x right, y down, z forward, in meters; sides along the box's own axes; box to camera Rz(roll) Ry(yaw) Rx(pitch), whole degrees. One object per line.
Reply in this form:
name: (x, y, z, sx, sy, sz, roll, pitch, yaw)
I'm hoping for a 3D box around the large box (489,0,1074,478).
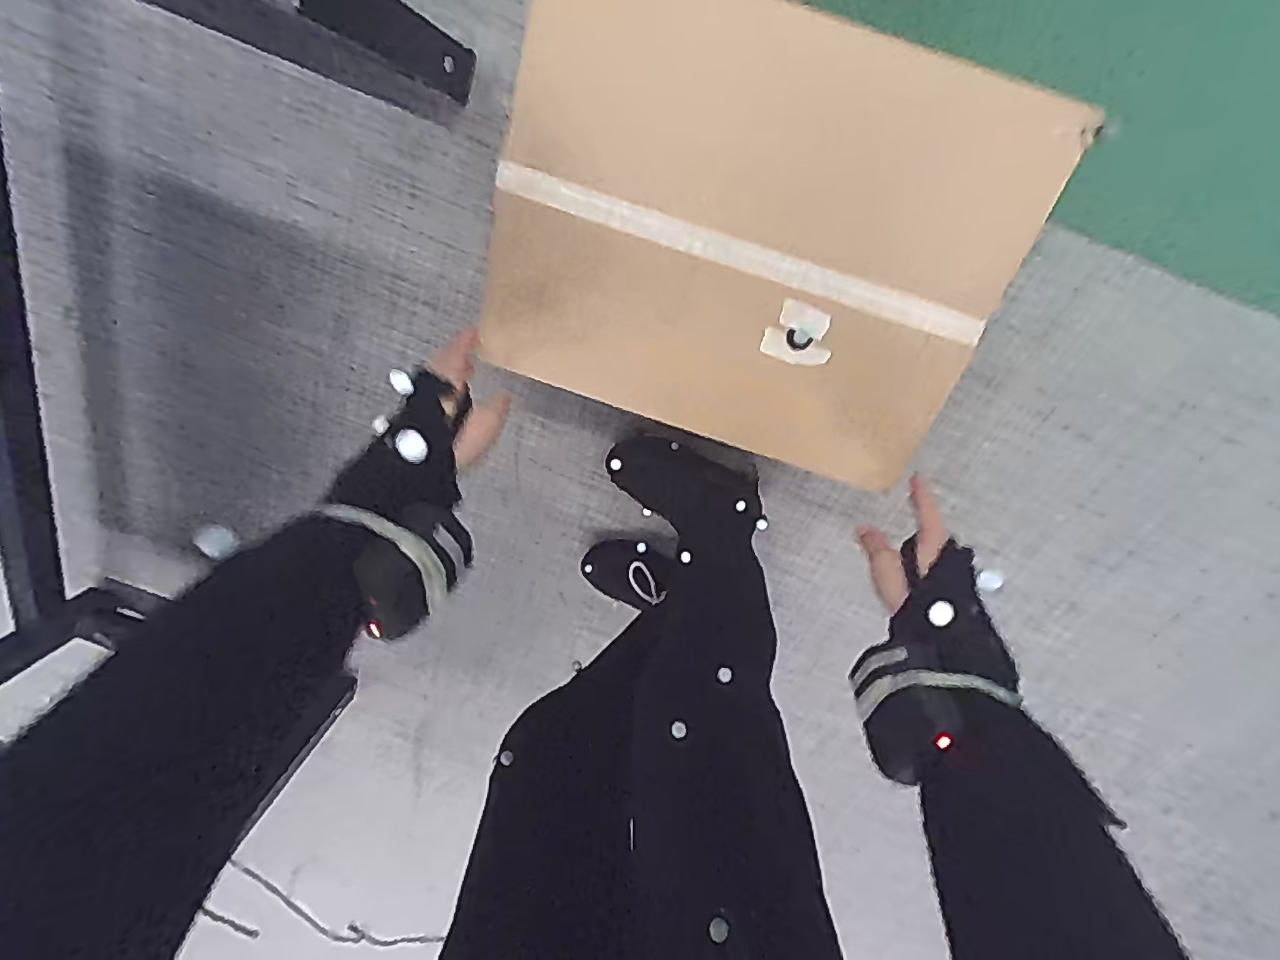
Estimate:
large box: (0.100, -0.247, 0.585, 0.408, 0.320, 0.320, 18, 115, -2)
